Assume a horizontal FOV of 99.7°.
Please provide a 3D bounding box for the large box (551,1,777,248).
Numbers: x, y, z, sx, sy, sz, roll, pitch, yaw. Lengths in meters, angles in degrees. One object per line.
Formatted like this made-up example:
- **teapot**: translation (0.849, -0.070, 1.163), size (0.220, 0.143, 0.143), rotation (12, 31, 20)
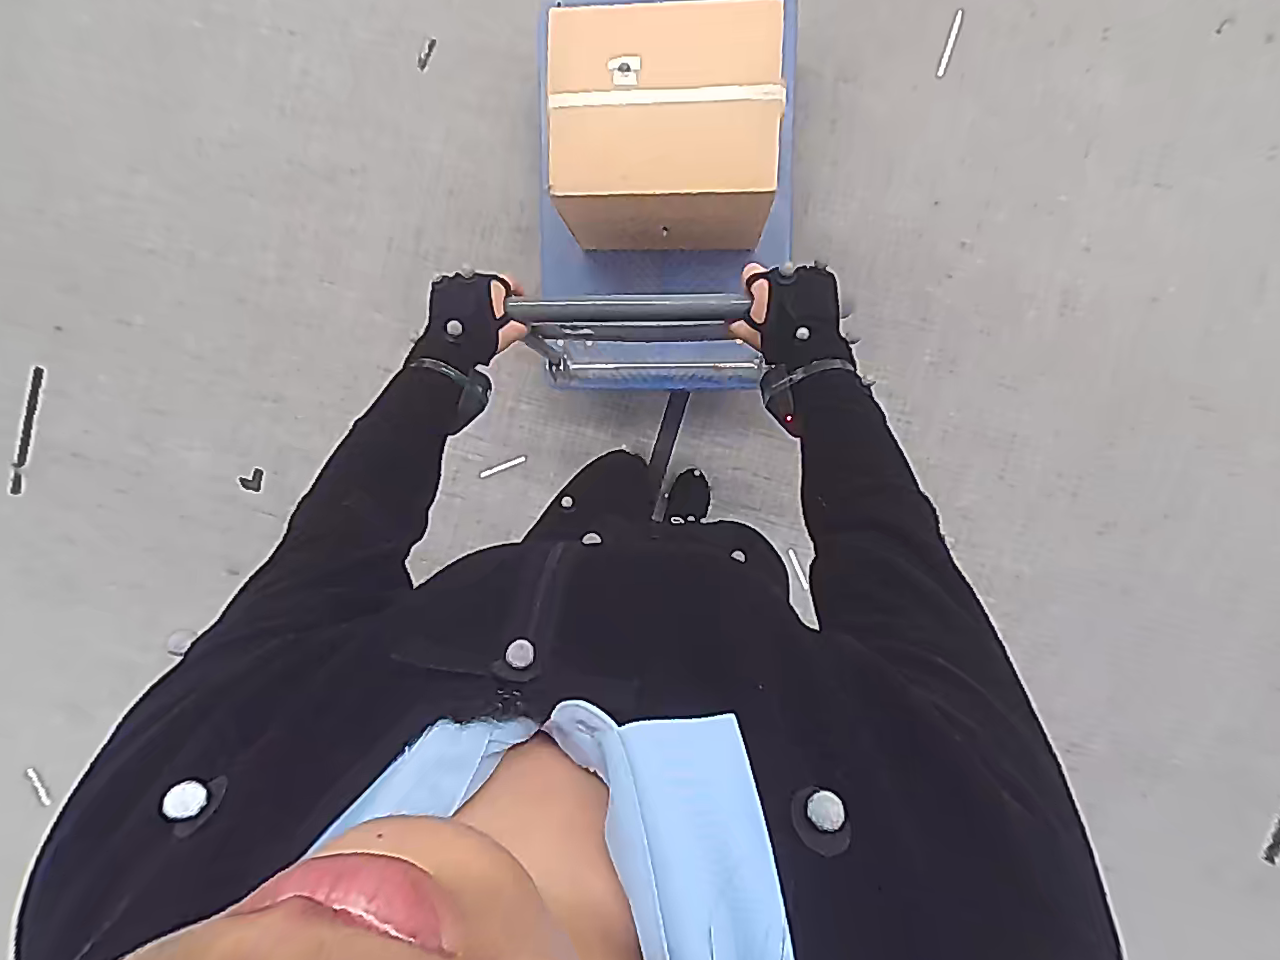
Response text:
- **large box**: translation (0.055, -0.683, 1.105), size (0.408, 0.320, 0.320), rotation (1, 95, 6)
